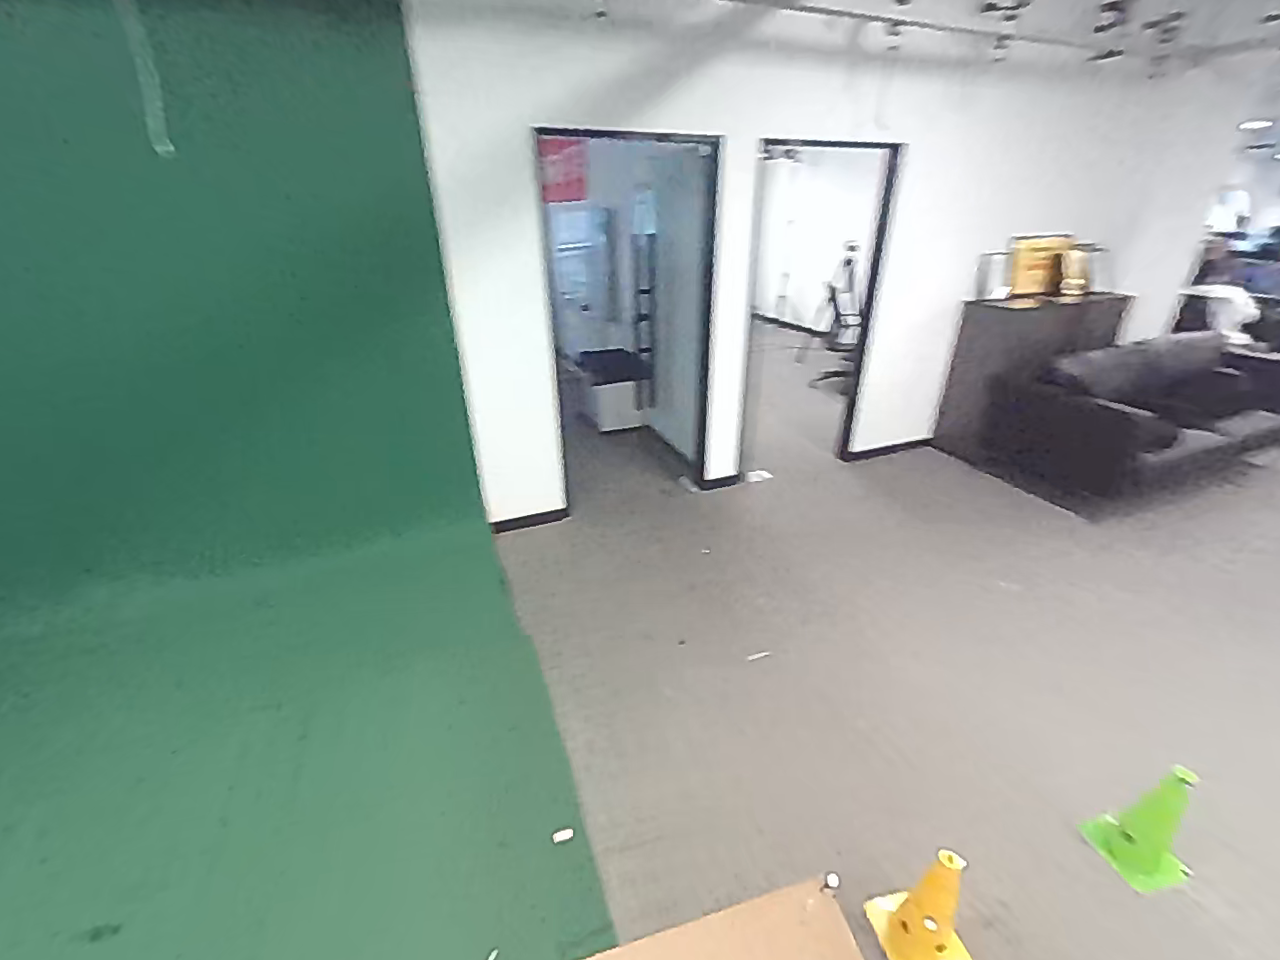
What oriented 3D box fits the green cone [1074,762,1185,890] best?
[{"bbox_3d":[1.430,0.922,1.517,0.202,0.368,0.200,-9,27,-13],"label":"green cone"}]
